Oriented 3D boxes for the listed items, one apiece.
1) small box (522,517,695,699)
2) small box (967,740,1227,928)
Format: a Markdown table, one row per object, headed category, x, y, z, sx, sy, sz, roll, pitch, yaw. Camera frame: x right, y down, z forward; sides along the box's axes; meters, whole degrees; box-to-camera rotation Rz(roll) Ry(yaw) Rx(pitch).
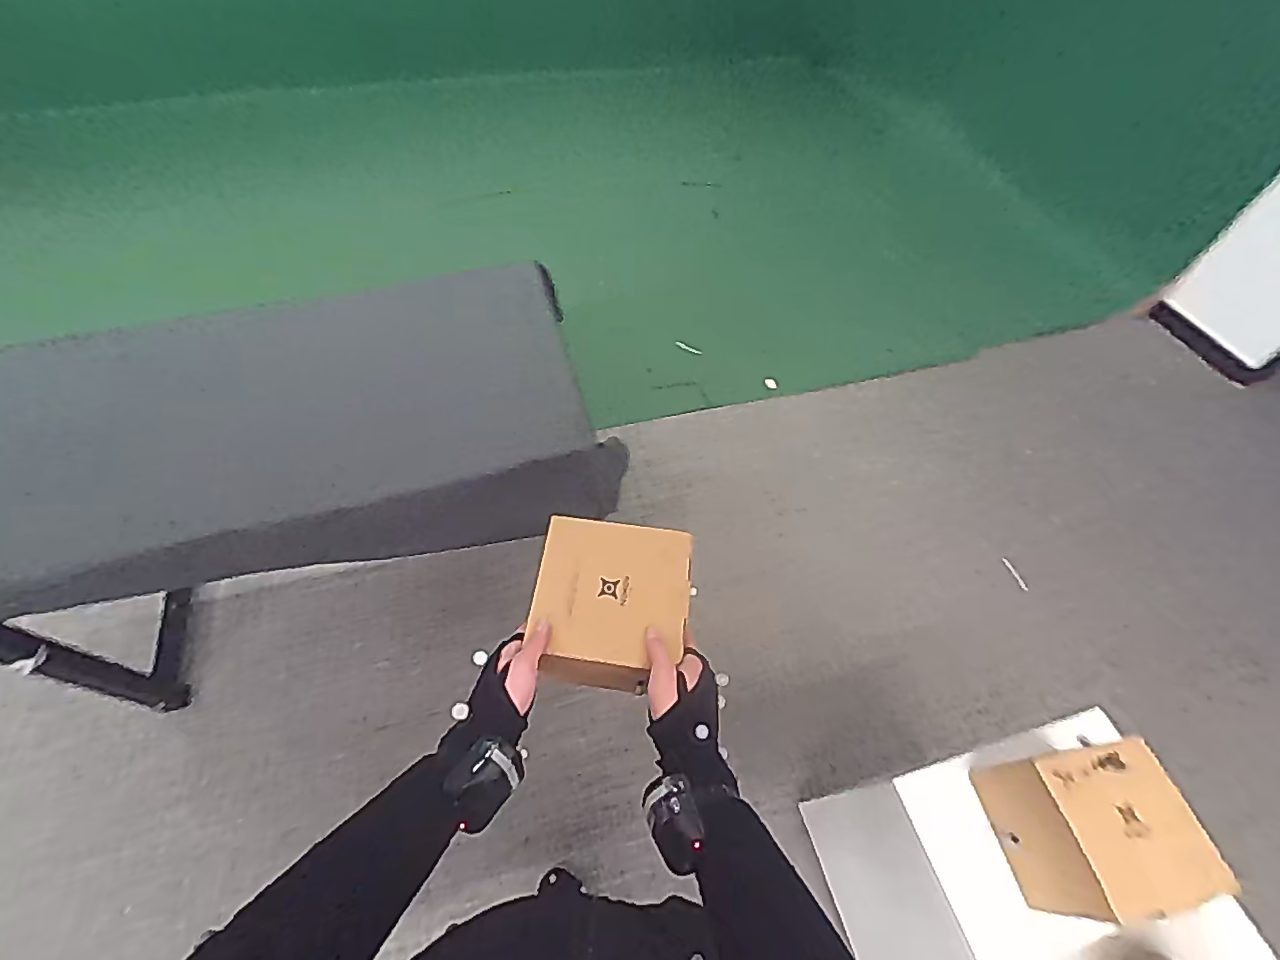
| category | x | y | z | sx | sy | sz | roll | pitch | yaw |
| --- | --- | --- | --- | --- | --- | --- | --- | --- | --- |
| small box | -0.033 | 0.164 | 0.663 | 0.179 | 0.176 | 0.168 | 5 | 57 | 1 |
| small box | 0.604 | 0.478 | 0.745 | 0.168 | 0.176 | 0.179 | -7 | 57 | -11 |
